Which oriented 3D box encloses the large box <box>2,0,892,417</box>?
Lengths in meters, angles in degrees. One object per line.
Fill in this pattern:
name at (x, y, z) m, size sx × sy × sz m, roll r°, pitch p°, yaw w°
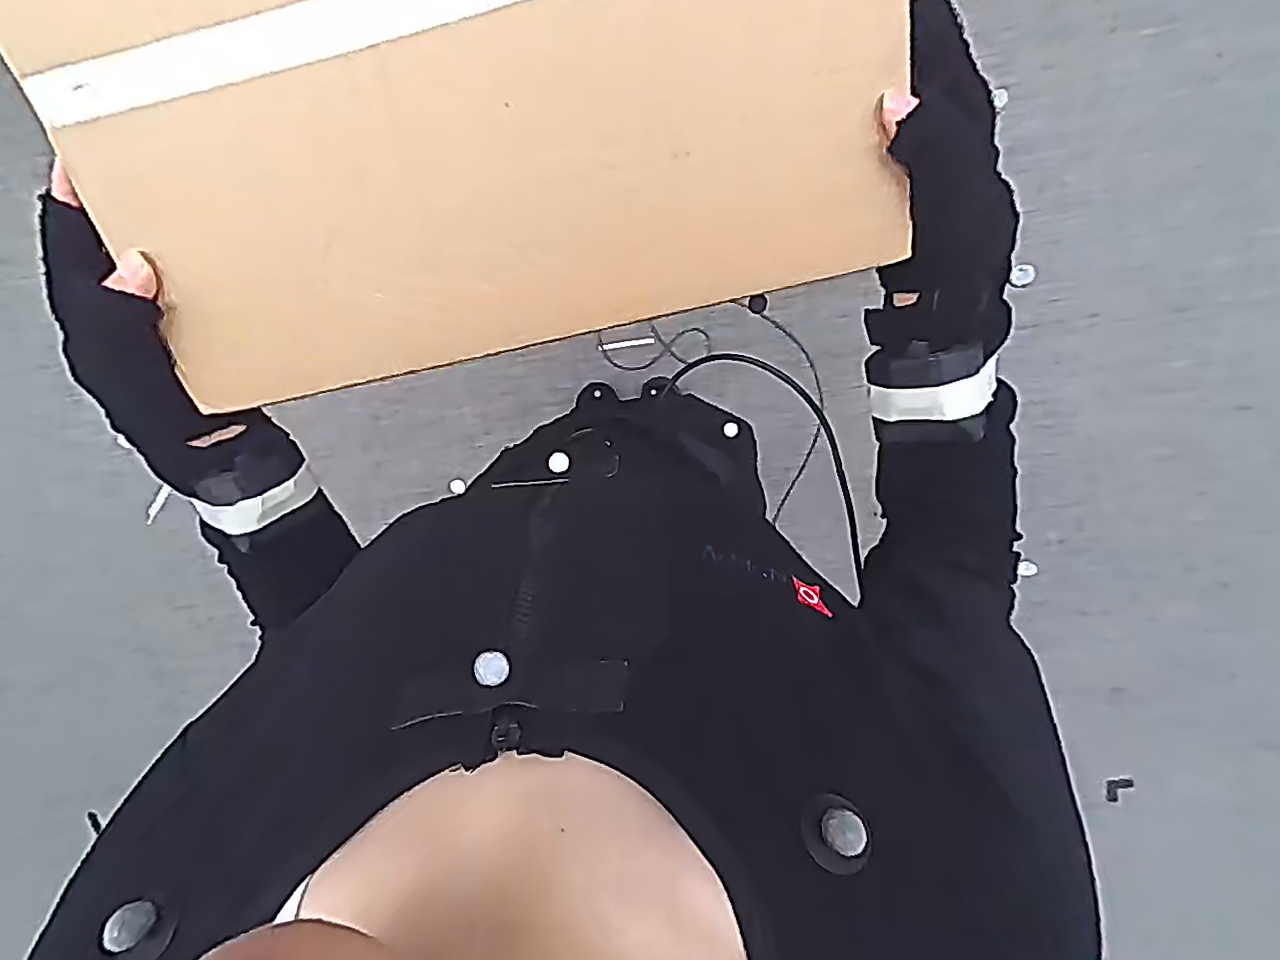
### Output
large box at (-0.088, -0.274, 0.390) m, size 0.408 × 0.320 × 0.320 m, roll -11°, pitch 111°, yaw 5°
